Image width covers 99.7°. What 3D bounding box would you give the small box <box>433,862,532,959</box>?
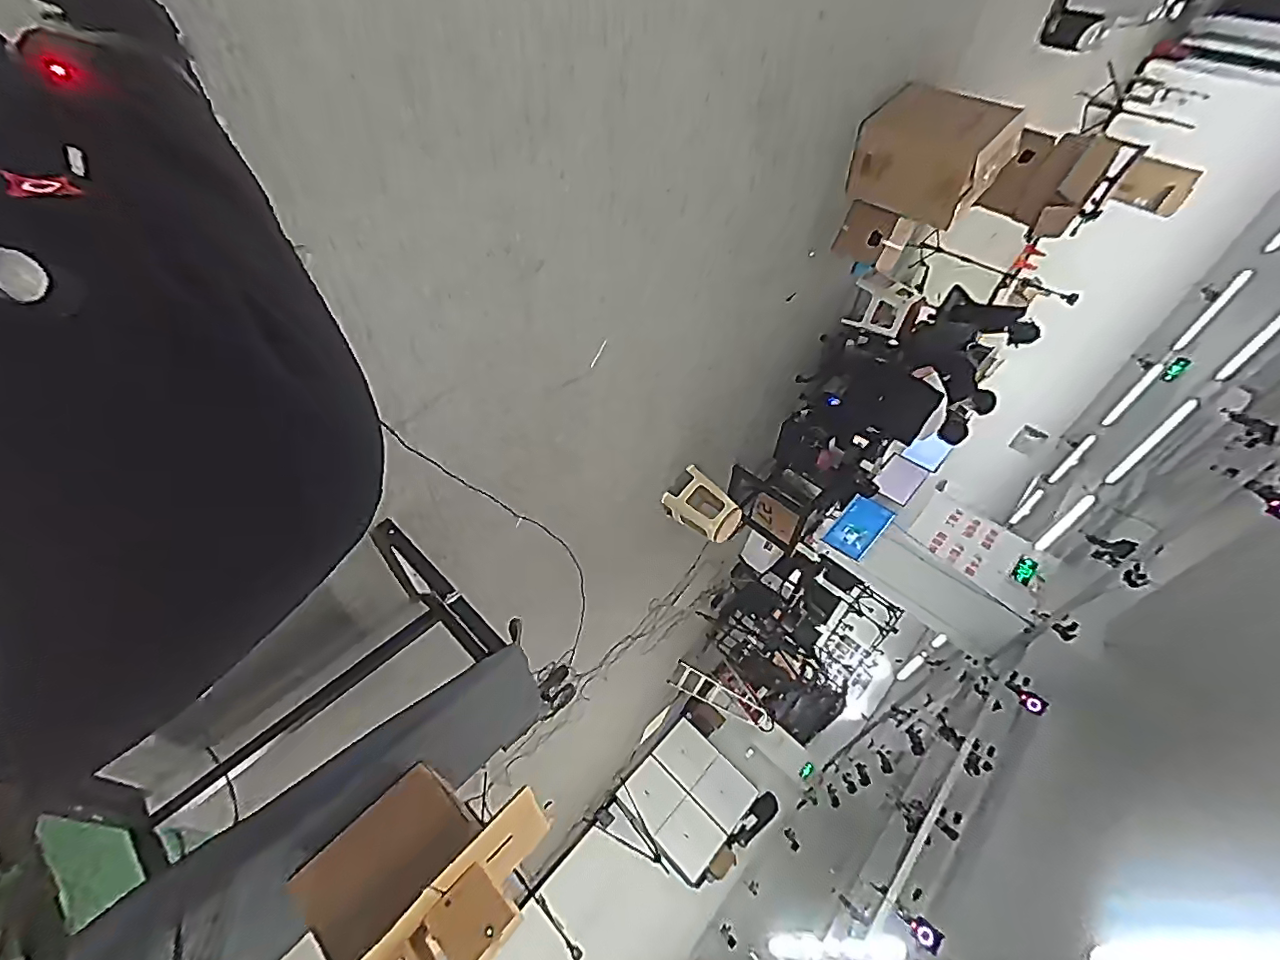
[{"bbox_3d":[-0.406,1.135,1.404,0.168,0.176,0.179,-40,151,-30],"label":"small box"}]
